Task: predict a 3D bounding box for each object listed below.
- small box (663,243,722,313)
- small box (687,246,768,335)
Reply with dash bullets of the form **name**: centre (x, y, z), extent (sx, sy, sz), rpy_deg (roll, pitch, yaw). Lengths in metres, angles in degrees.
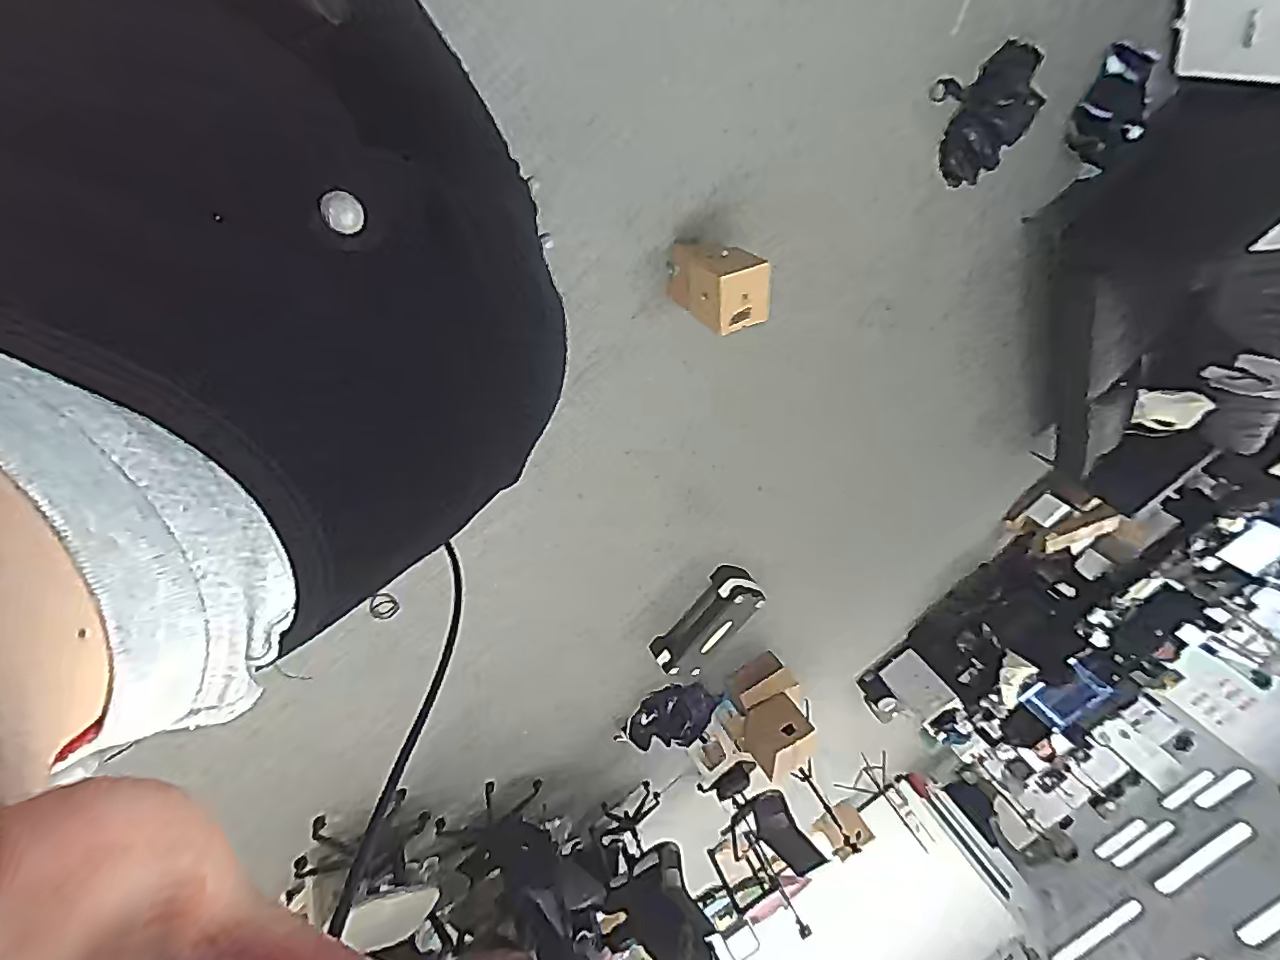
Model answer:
- **small box**: centre (0.195, -0.638, 1.694), extent (0.179, 0.176, 0.168), rpy_deg (-12, 131, -23)
- **small box**: centre (0.249, -0.551, 1.562), extent (0.168, 0.176, 0.179), rpy_deg (-23, 134, -16)
